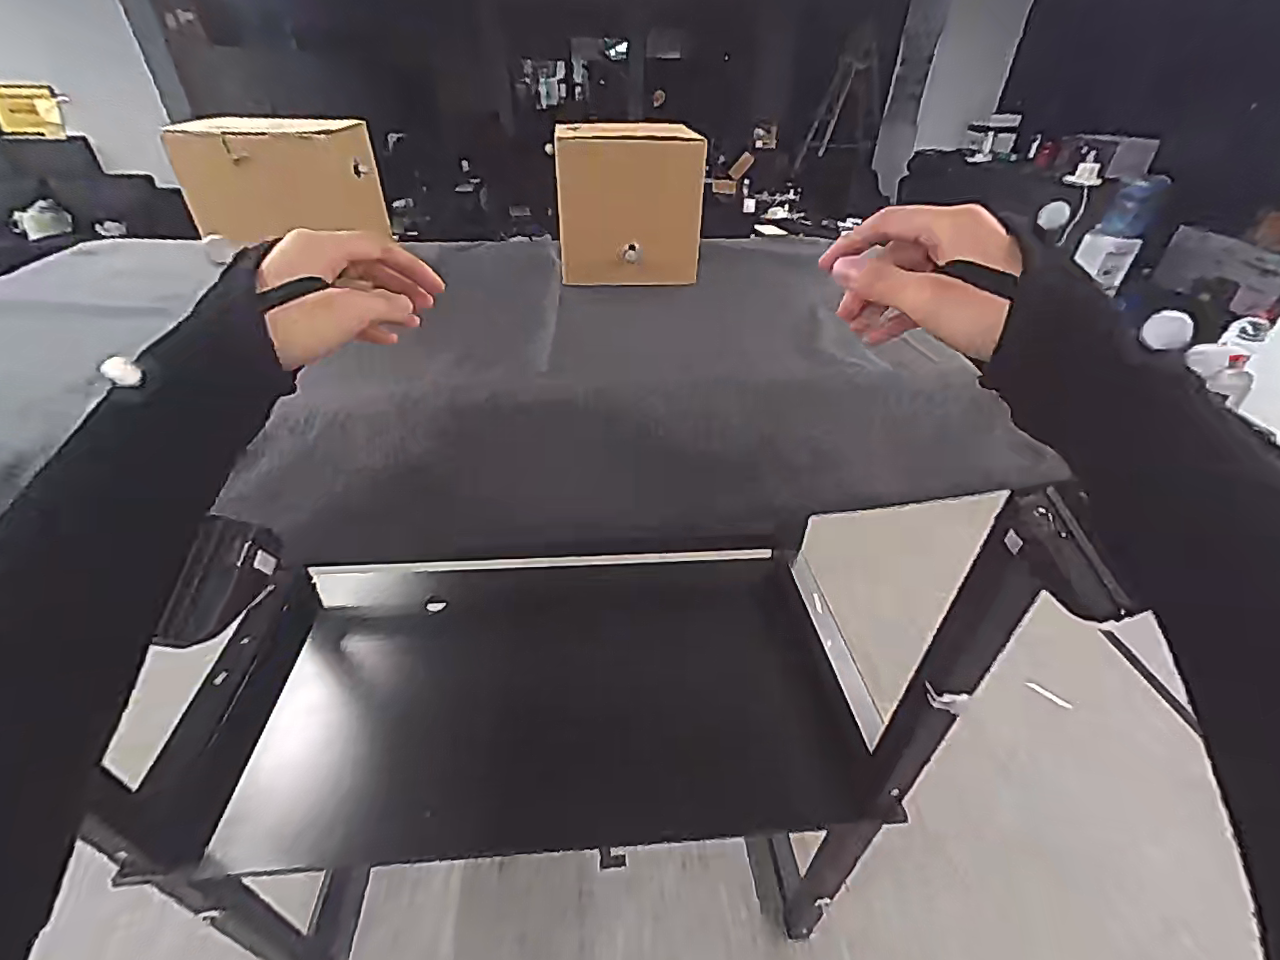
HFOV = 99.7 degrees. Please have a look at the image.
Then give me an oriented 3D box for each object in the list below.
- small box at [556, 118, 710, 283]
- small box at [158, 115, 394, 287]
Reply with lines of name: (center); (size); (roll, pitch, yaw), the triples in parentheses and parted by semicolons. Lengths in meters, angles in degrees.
small box: (-0.017, -0.367, 0.714); (0.179, 0.176, 0.168); (-2, 37, -6)
small box: (-0.422, -0.346, 0.669); (0.168, 0.176, 0.179); (-4, 37, -8)
